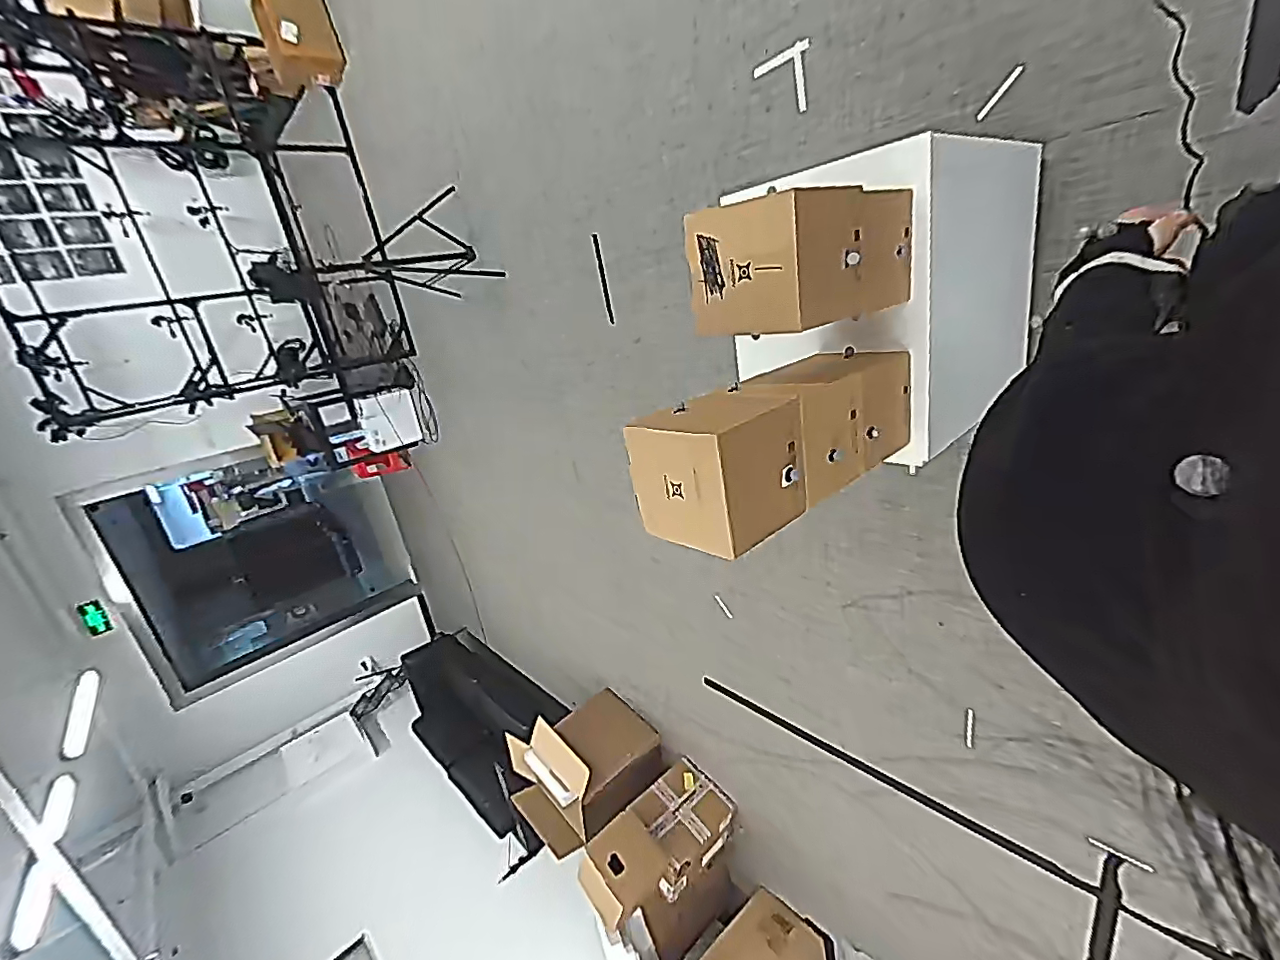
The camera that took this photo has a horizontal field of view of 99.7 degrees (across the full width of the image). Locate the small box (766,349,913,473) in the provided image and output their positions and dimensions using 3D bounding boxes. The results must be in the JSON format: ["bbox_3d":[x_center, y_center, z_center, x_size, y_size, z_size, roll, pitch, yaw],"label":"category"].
[{"bbox_3d":[0.344,-0.126,0.934,0.179,0.176,0.168,14,121,49],"label":"small box"}]

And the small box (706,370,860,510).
[{"bbox_3d":[0.225,-0.072,0.838,0.179,0.176,0.168,12,119,49],"label":"small box"}]

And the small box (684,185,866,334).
[{"bbox_3d":[0.187,-0.300,0.748,0.179,0.176,0.168,14,121,46],"label":"small box"}]

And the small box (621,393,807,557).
[{"bbox_3d":[0.104,-0.018,0.744,0.179,0.176,0.168,10,119,48],"label":"small box"}]
